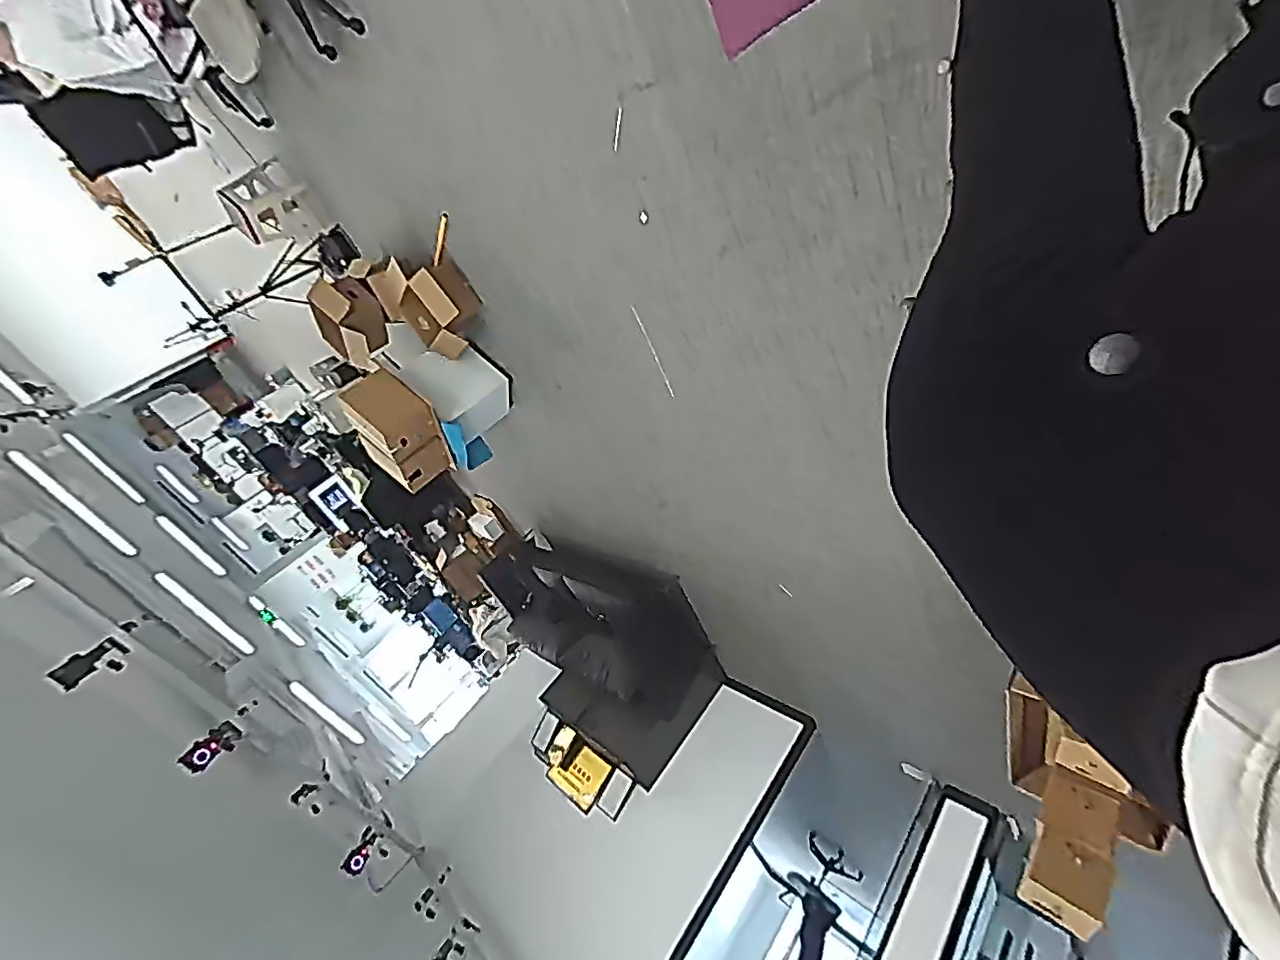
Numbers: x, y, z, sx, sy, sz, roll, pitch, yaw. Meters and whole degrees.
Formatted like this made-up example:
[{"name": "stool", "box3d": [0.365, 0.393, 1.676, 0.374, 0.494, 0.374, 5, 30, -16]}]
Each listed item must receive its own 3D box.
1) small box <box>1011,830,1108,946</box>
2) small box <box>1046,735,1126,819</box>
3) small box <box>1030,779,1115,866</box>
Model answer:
[{"name": "small box", "box3d": [1.166, 1.129, 1.504, 0.168, 0.176, 0.179, 20, 140, 39]}, {"name": "small box", "box3d": [1.372, 0.933, 1.665, 0.168, 0.176, 0.179, 12, 135, 46]}, {"name": "small box", "box3d": [1.267, 1.028, 1.585, 0.168, 0.176, 0.179, 12, 135, 47]}]
